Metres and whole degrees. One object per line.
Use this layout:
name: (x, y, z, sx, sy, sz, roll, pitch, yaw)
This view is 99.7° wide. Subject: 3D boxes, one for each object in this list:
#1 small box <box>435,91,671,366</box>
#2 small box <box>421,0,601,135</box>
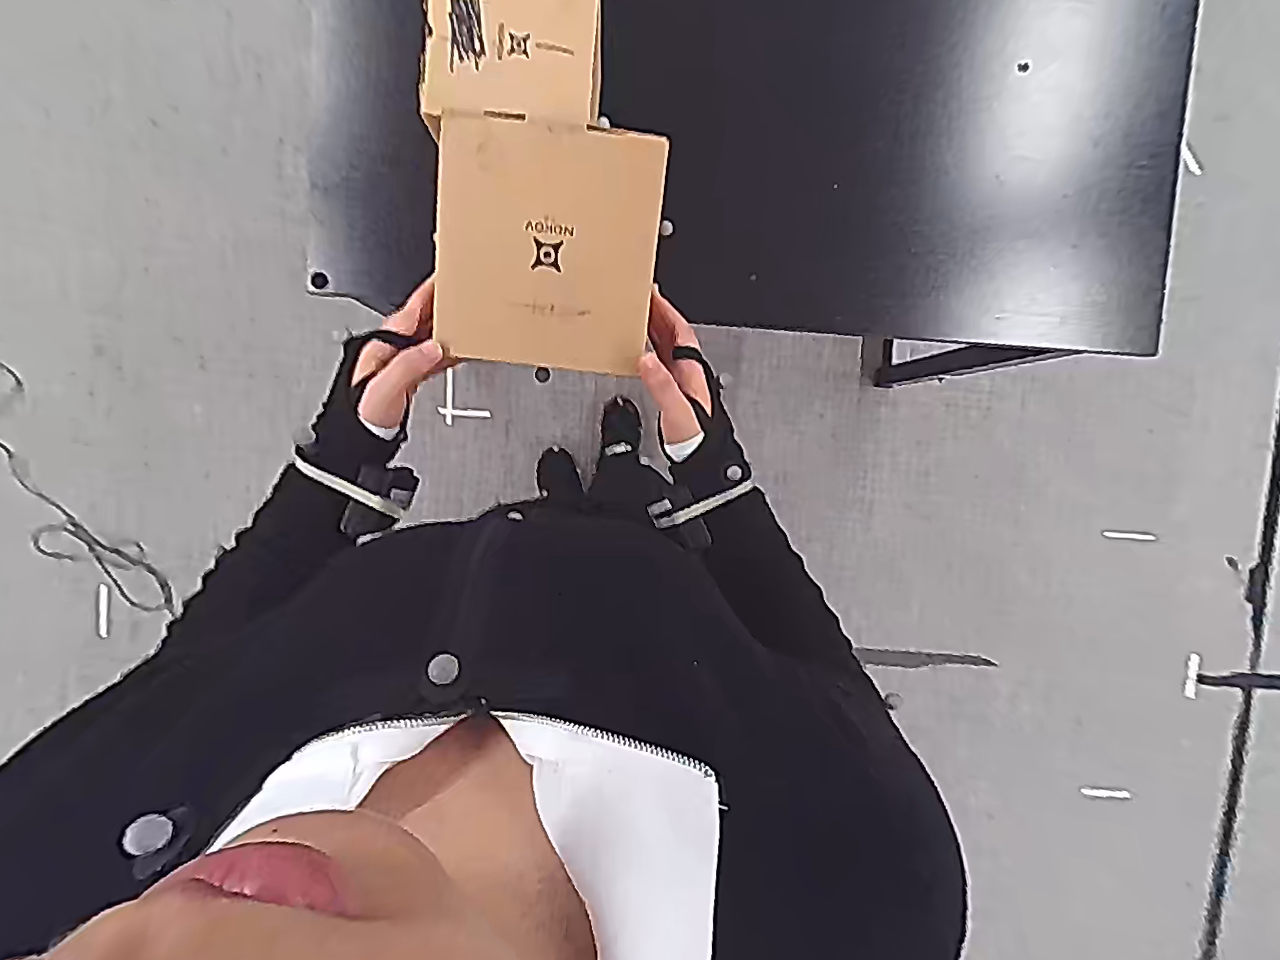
small box: (-0.072, -0.201, 0.485, 0.168, 0.176, 0.179, 6, 102, -4)
small box: (-0.139, -0.463, 0.637, 0.179, 0.176, 0.168, 4, 94, -5)
